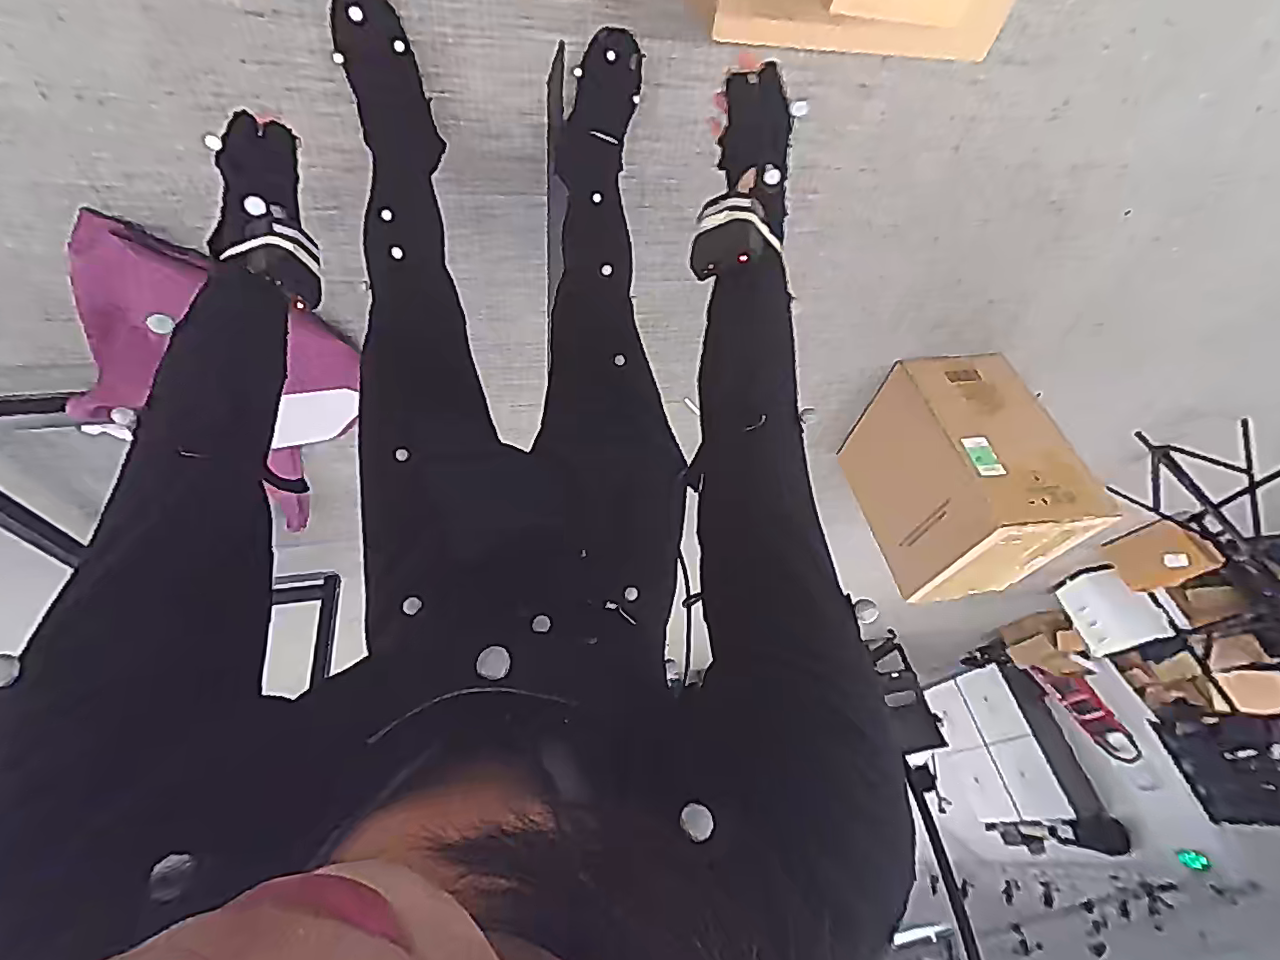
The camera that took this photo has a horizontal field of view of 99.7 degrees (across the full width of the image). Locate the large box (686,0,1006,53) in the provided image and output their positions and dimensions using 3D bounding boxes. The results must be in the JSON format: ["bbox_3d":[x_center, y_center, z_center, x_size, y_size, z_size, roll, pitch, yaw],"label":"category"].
[{"bbox_3d":[0.266,-0.783,0.674,0.408,0.320,0.320,-6,148,-12],"label":"large box"}]
